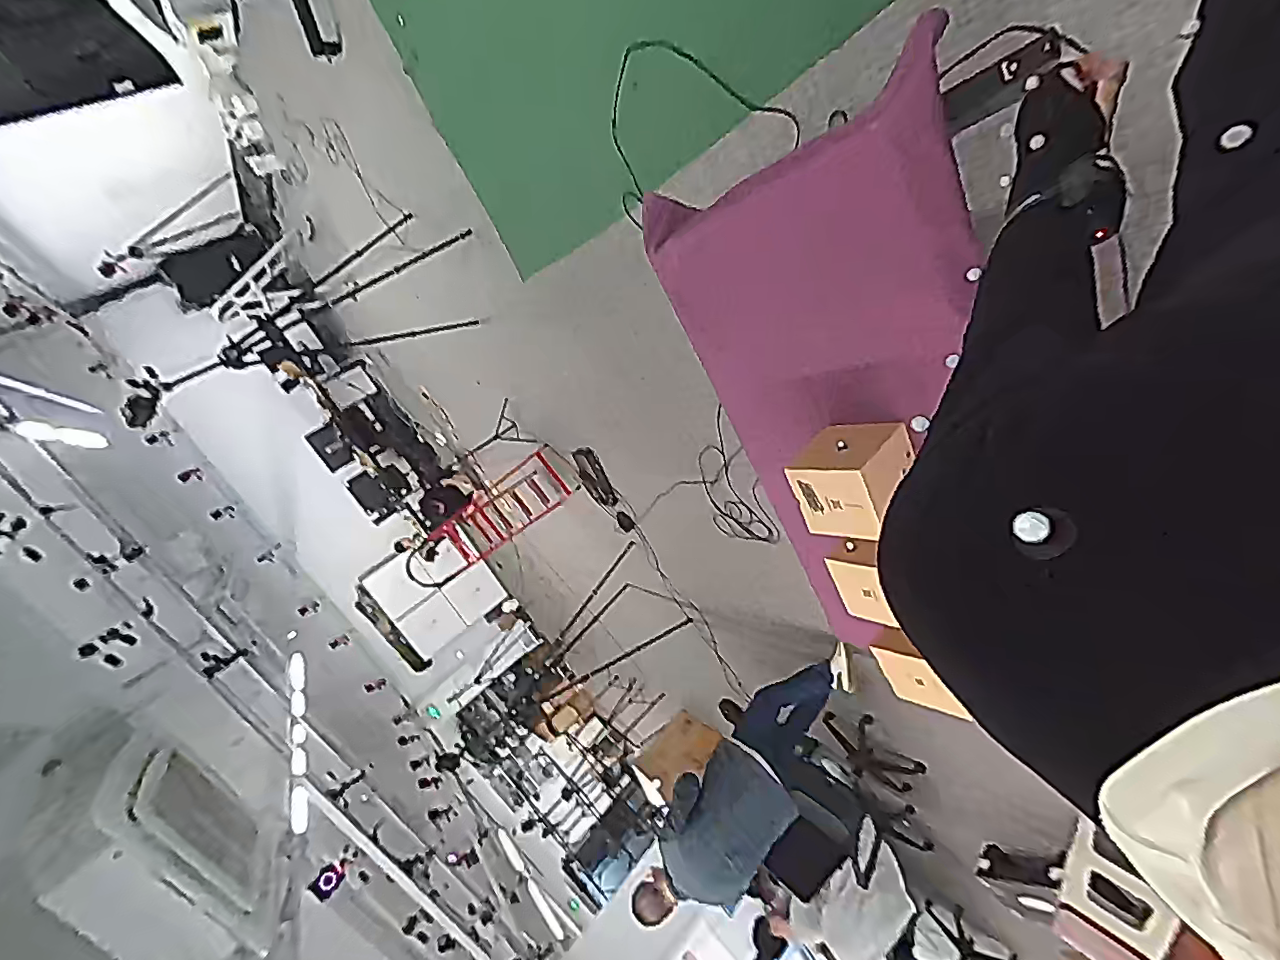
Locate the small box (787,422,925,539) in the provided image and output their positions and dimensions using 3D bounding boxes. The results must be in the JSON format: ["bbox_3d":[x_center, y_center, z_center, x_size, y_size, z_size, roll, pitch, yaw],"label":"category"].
[{"bbox_3d":[0.437,-0.005,1.094,0.179,0.176,0.168,4,128,55],"label":"small box"}]

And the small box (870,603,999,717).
[{"bbox_3d":[0.672,0.395,1.233,0.168,0.176,0.179,58,153,-14],"label":"small box"}]

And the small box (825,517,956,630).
[{"bbox_3d":[0.544,0.190,1.173,0.179,0.176,0.168,2,126,57],"label":"small box"}]
